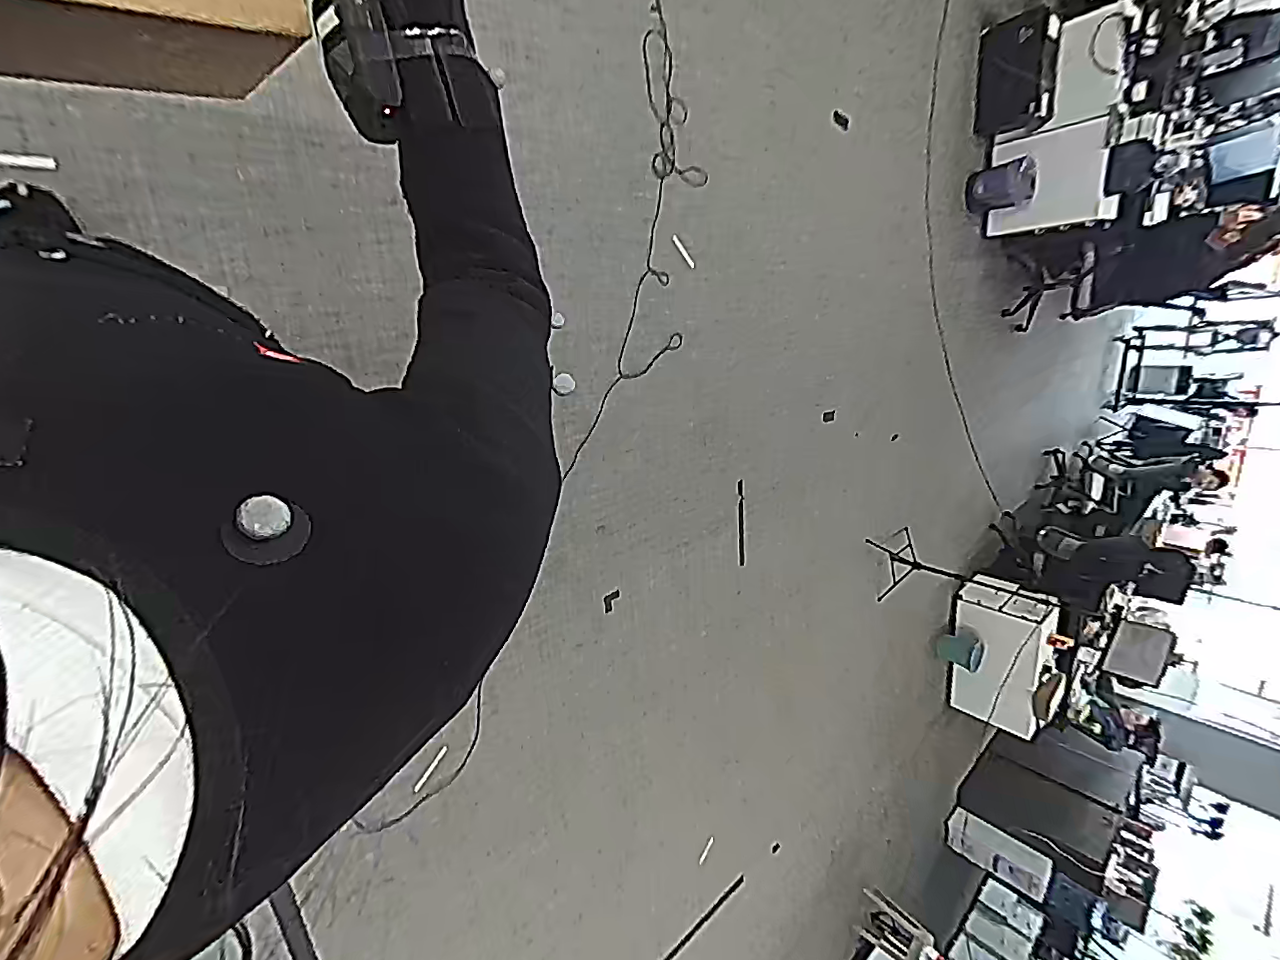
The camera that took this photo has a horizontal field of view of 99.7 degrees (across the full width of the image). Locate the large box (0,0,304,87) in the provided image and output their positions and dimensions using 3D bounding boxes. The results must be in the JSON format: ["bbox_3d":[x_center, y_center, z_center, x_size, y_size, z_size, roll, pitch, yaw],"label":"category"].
[{"bbox_3d":[-0.450,-0.400,0.244,0.408,0.320,0.320,-22,126,-35],"label":"large box"}]
